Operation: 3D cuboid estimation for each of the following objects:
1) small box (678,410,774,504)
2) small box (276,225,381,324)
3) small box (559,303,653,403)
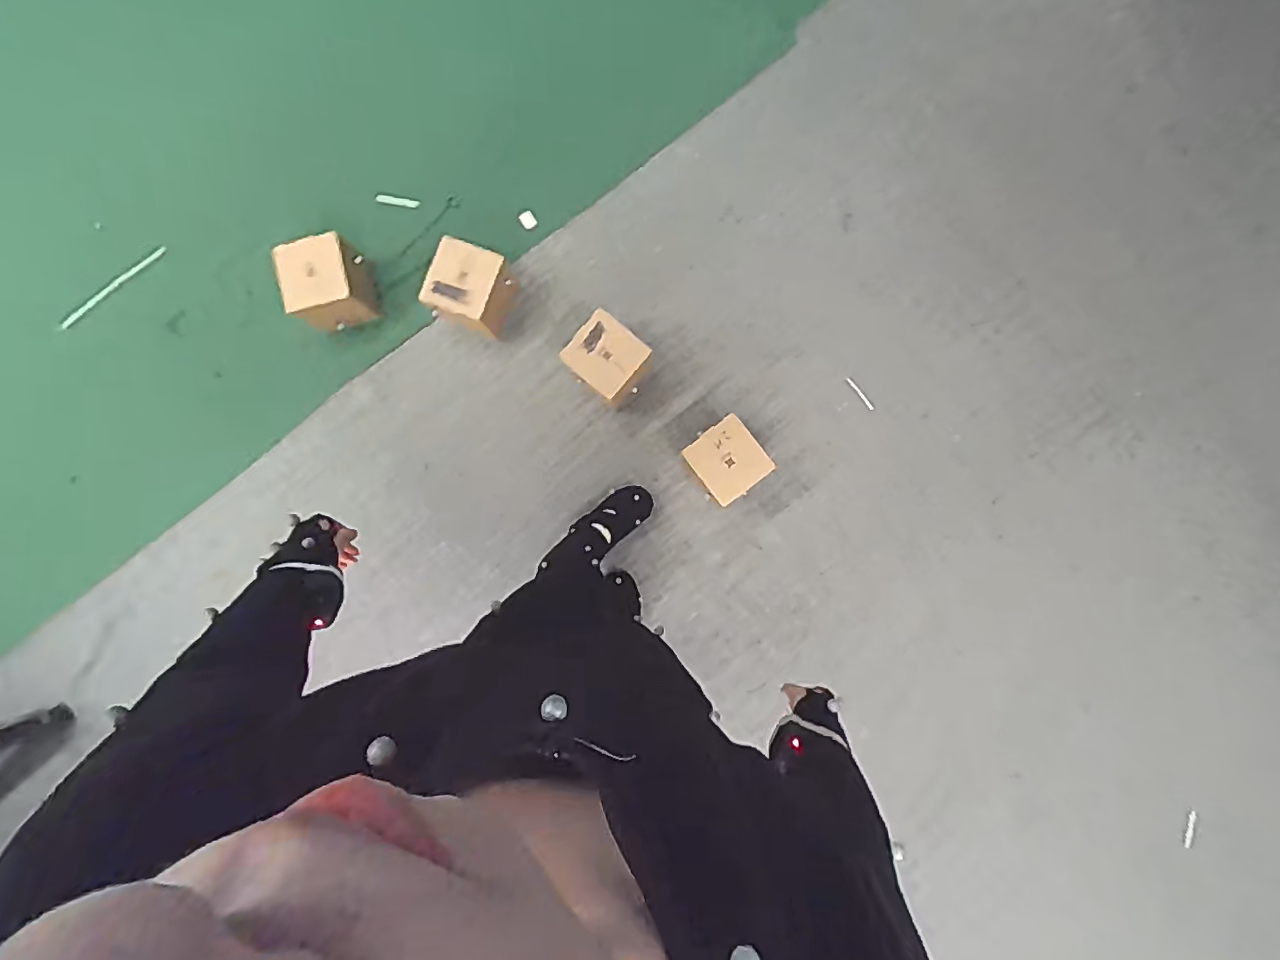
[{"bbox_3d":[0.214,-0.056,1.390,0.168,0.176,0.179,-37,87,-1],"label":"small box"},{"bbox_3d":[-0.818,-0.538,1.433,0.168,0.176,0.179,-13,87,1],"label":"small box"},{"bbox_3d":[-0.083,-0.320,1.407,0.179,0.176,0.168,41,89,2],"label":"small box"}]
